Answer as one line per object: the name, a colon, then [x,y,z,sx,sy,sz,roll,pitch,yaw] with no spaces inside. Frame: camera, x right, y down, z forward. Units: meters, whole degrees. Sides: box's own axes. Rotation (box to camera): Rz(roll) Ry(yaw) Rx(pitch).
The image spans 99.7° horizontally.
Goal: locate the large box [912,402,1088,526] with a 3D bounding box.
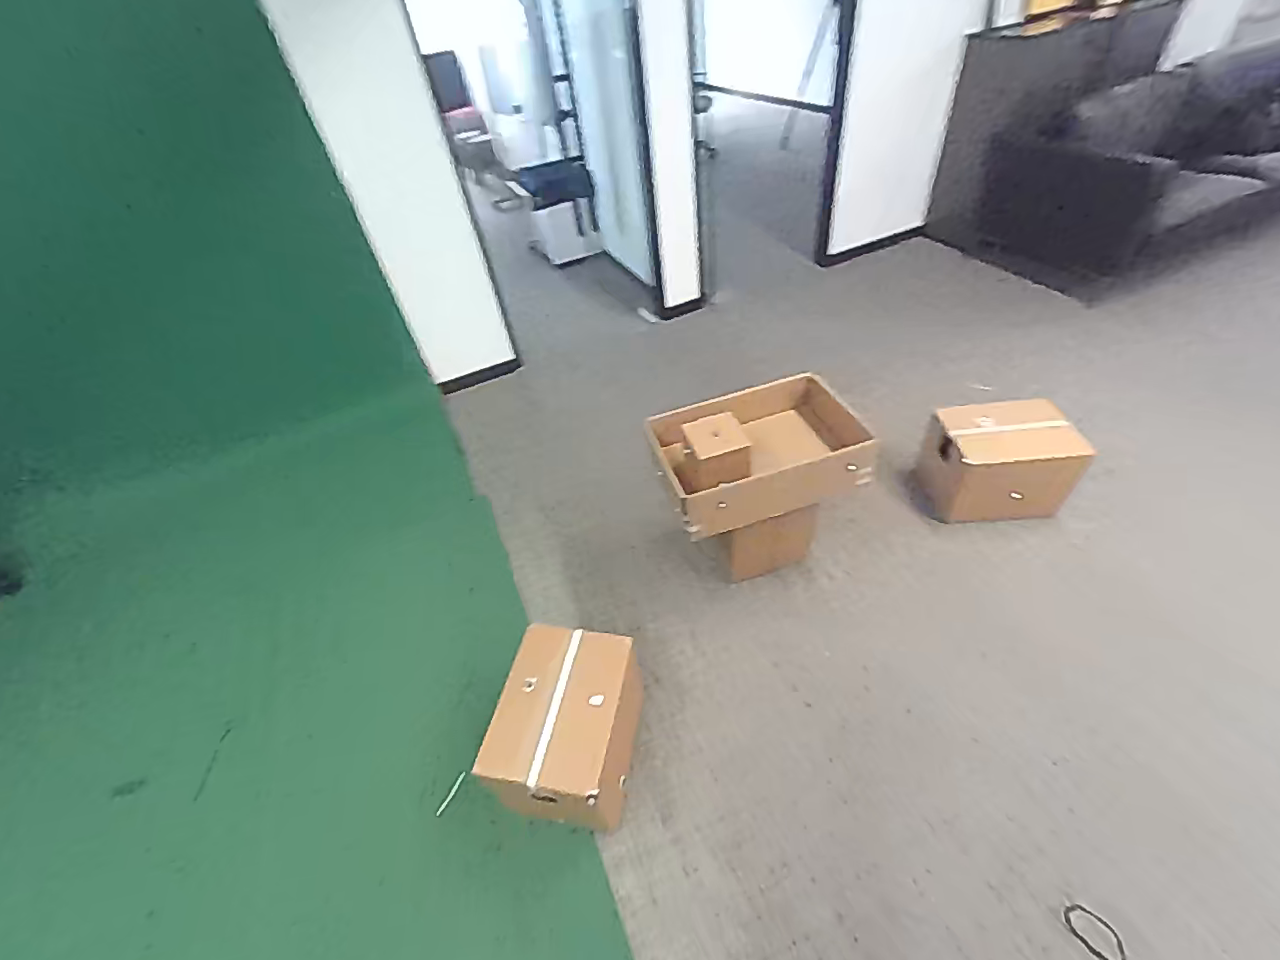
large box: [1.296,-0.055,1.997,0.408,0.320,0.320,-6,43,5]
